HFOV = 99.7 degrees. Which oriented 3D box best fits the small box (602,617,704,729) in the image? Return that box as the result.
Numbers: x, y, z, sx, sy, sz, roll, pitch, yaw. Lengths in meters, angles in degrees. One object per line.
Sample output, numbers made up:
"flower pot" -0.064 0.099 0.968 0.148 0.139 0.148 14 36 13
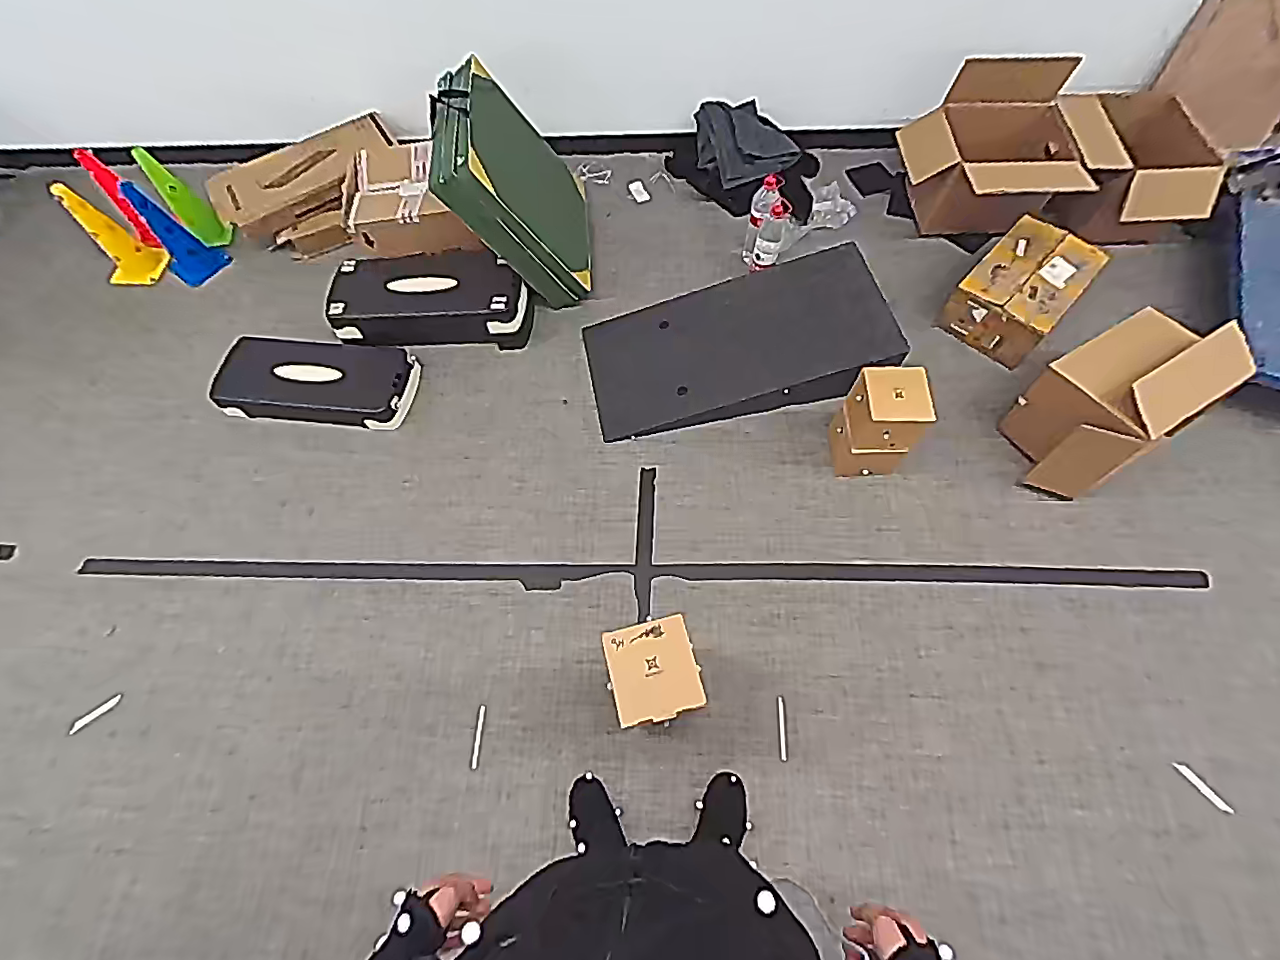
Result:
"small box" 0.026 0.395 1.100 0.168 0.176 0.179 -13 66 -4
